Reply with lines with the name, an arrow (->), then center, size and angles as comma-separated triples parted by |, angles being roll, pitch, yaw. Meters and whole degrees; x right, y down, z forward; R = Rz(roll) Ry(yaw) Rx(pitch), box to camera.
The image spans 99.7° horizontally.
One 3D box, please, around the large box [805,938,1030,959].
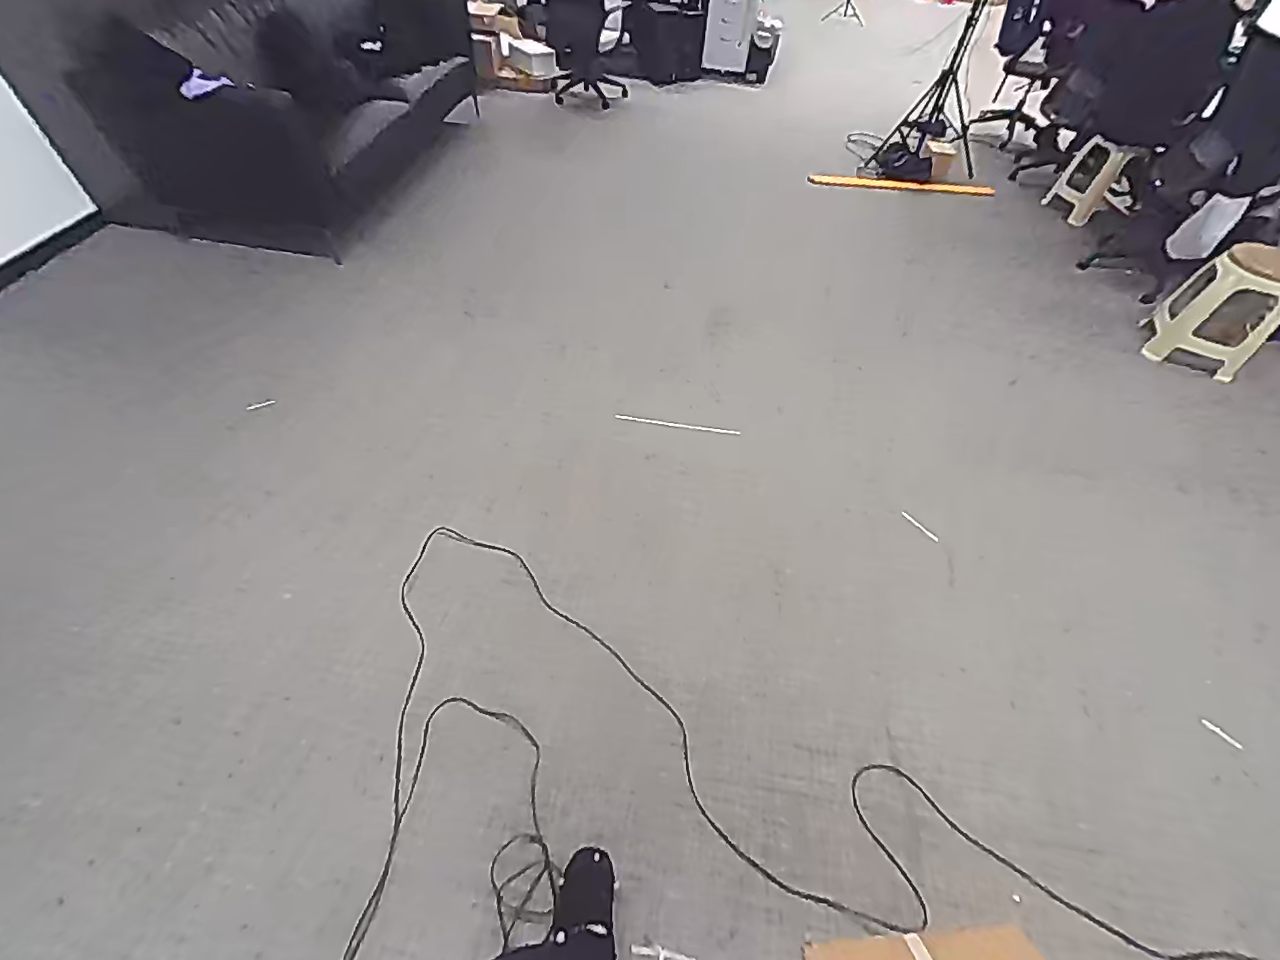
large box -> 0.404, 0.821, 0.582 | 0.320, 0.408, 0.320 | -5, 88, 1
